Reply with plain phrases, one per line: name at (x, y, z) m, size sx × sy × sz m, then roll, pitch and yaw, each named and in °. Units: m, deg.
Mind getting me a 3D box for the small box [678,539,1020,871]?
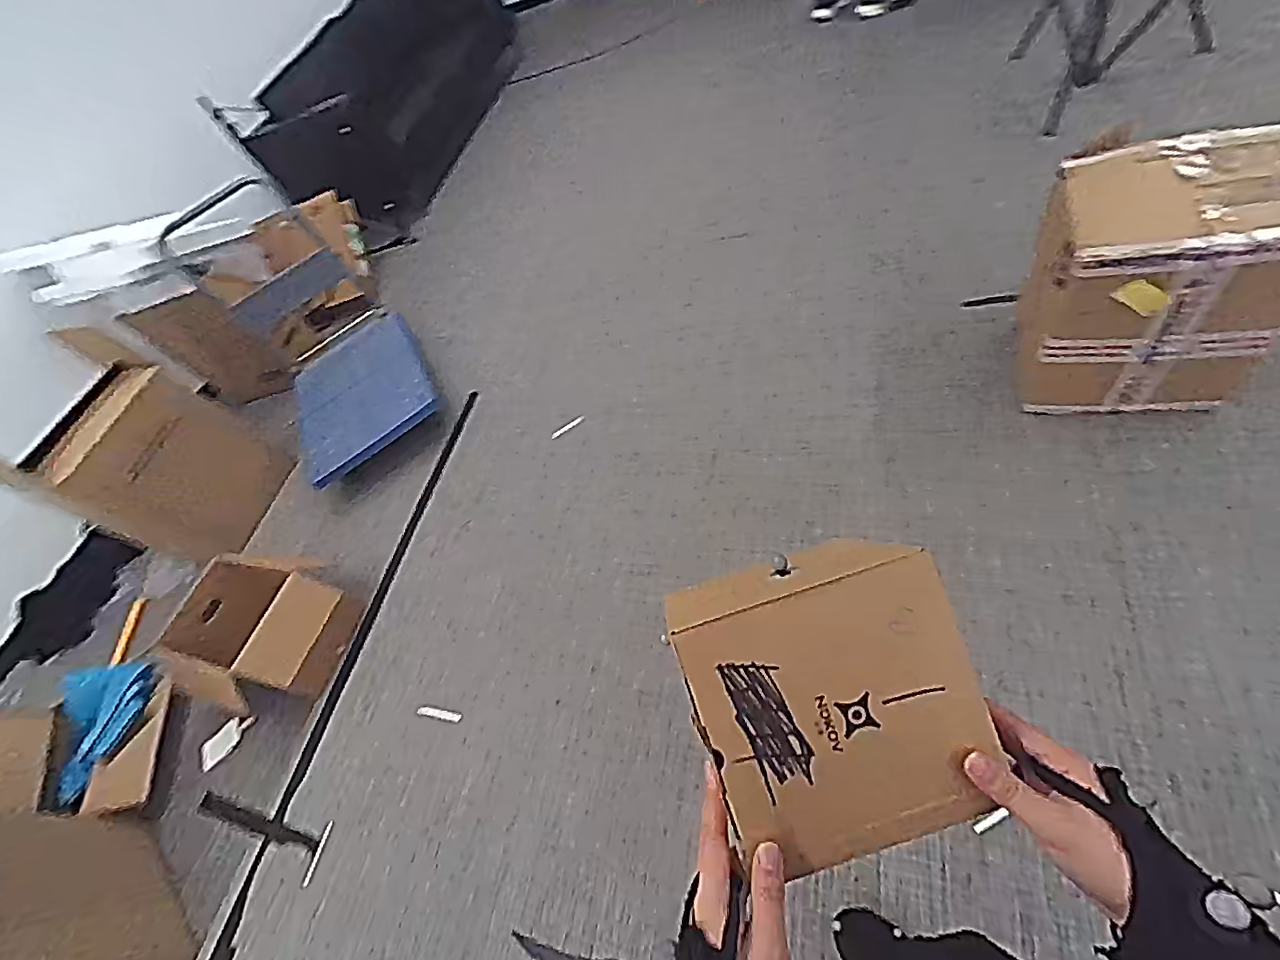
small box at (0.134, 0.149, 0.422) m, size 0.179 × 0.176 × 0.168 m, roll -17°, pitch 86°, yaw 0°
